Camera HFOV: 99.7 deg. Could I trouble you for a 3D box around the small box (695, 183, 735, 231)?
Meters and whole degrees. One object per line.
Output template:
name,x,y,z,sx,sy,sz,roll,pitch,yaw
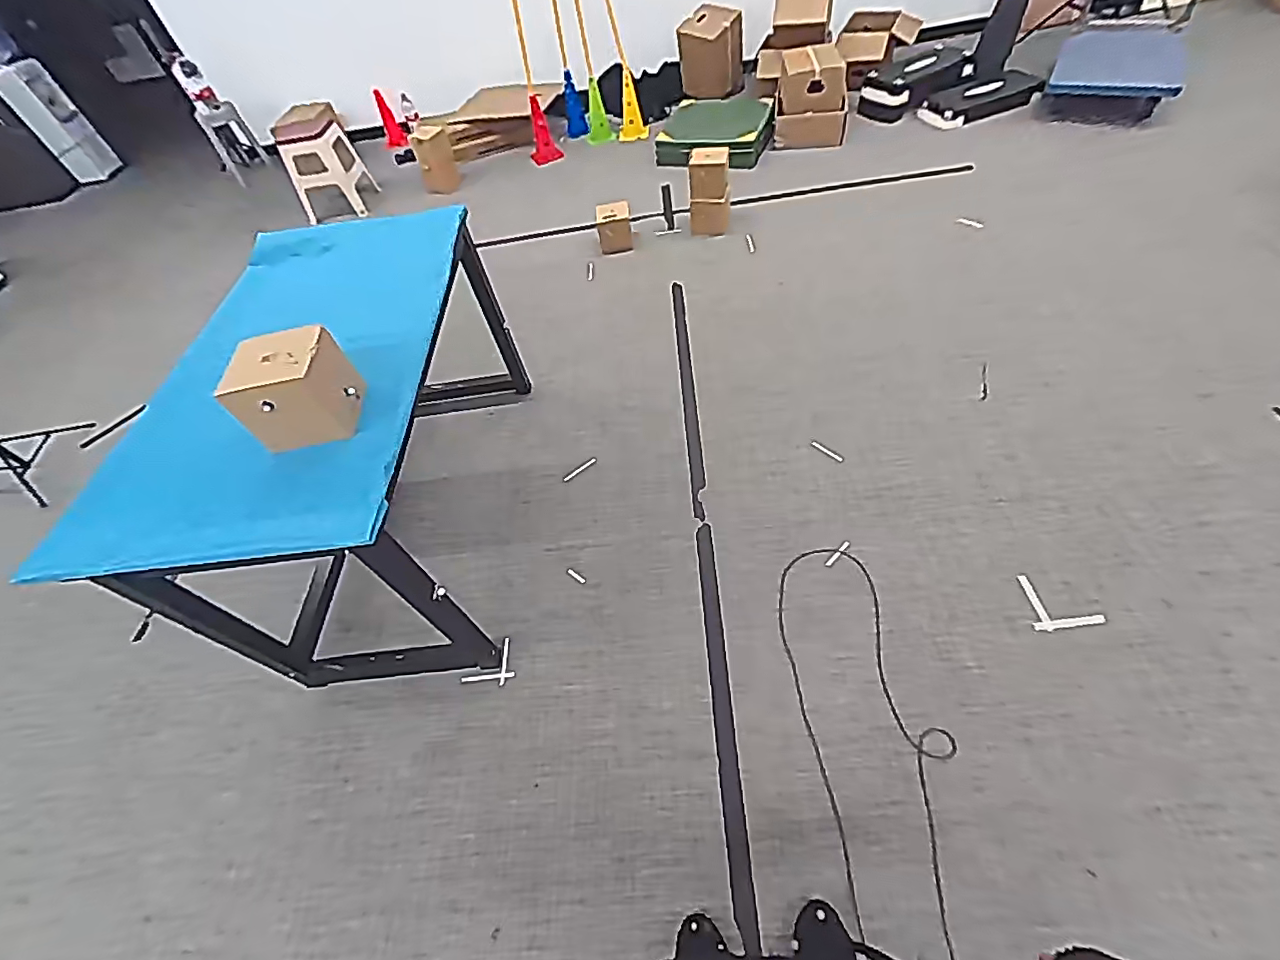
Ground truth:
small box,0.384,-1.386,2.742,0.179,0.176,0.168,7,54,14

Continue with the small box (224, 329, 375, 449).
small box,-0.681,-0.179,1.106,0.179,0.176,0.168,-7,53,2

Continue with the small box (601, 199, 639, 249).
small box,-0.102,-1.301,2.764,0.168,0.176,0.179,-8,51,5

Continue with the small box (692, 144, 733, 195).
small box,0.358,-1.506,2.629,0.179,0.176,0.168,5,55,13
